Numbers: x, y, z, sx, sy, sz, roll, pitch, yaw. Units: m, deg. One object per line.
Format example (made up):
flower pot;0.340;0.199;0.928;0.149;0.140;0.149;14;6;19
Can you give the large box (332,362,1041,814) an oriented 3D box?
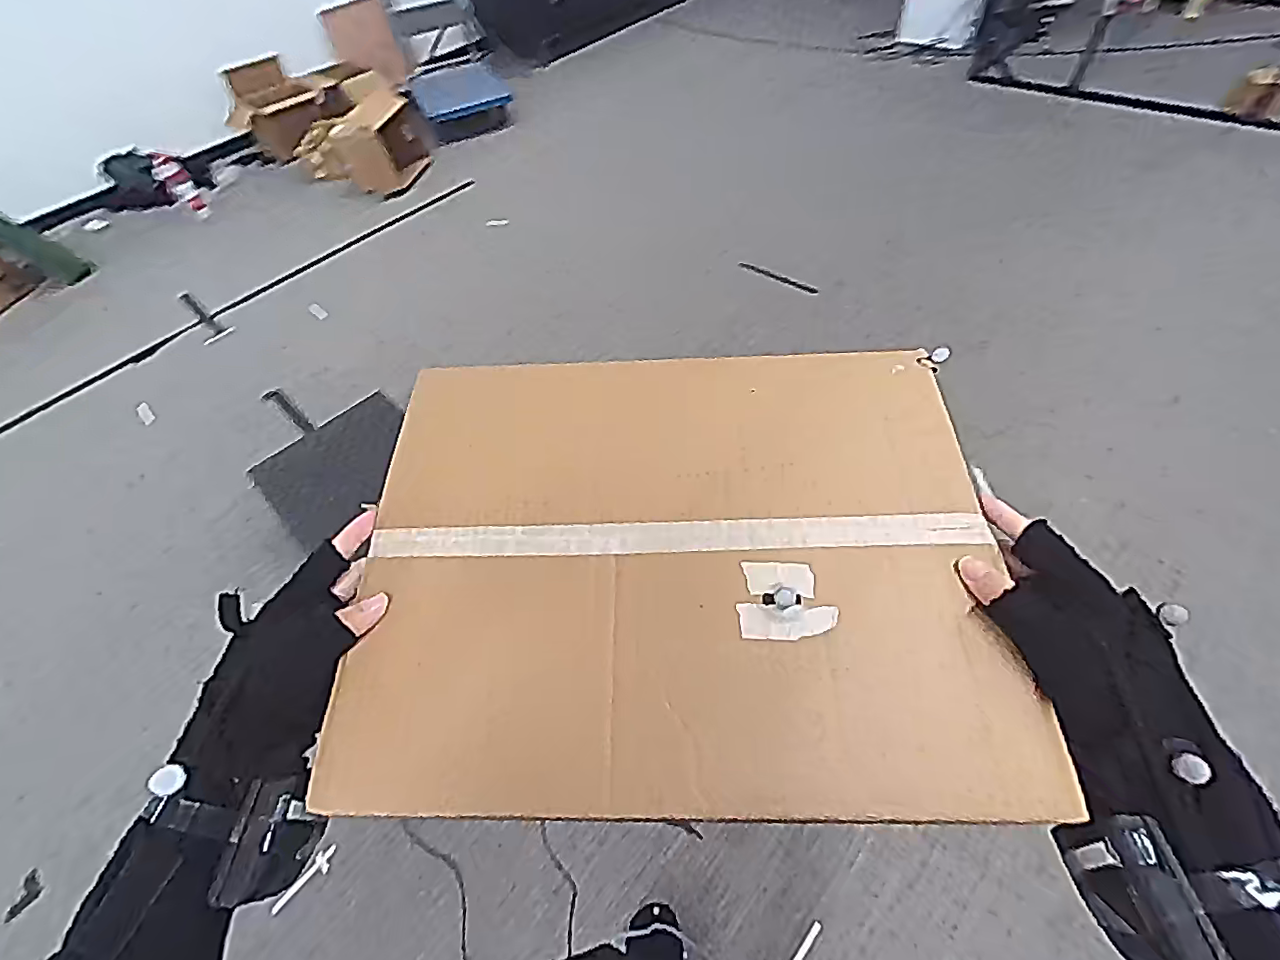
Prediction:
large box;0.024;0.118;0.501;0.408;0.320;0.320;-2;61;2
